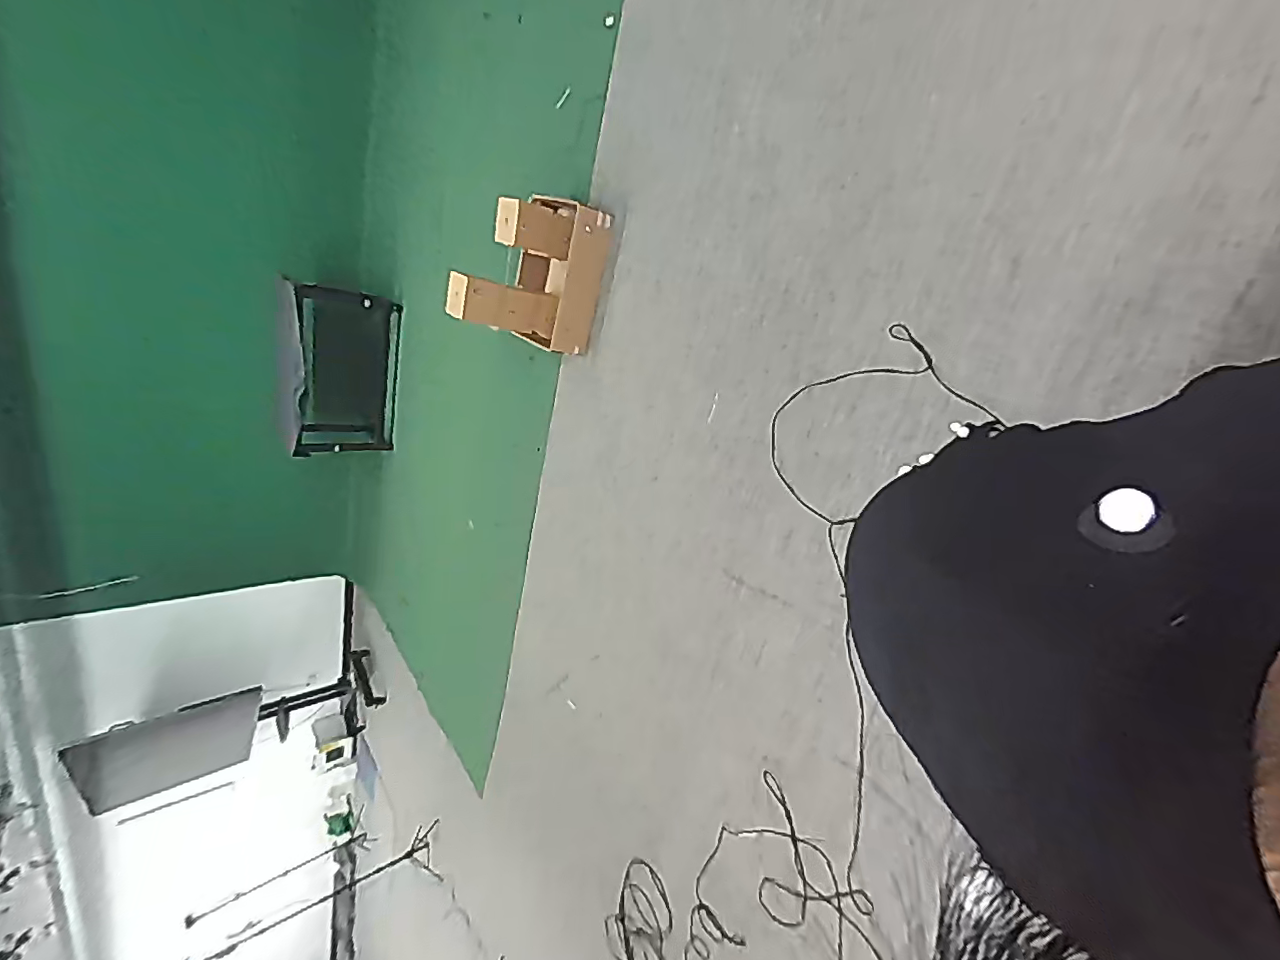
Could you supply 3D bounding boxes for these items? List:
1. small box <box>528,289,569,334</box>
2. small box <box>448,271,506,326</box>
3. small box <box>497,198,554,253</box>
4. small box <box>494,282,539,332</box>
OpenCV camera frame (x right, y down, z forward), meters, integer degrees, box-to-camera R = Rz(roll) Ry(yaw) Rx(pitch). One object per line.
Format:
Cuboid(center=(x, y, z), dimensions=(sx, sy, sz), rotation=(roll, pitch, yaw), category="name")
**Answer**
Cuboid(center=(-0.452, -0.782, 2.507), dimensions=(0.179, 0.176, 0.168), rotation=(32, 116, 40), category="small box")
Cuboid(center=(-0.683, -0.763, 2.274), dimensions=(0.168, 0.176, 0.179), rotation=(33, 117, 41), category="small box")
Cuboid(center=(-0.477, -1.065, 2.265), dimensions=(0.168, 0.176, 0.179), rotation=(30, 116, 39), category="small box")
Cuboid(center=(-0.566, -0.764, 2.391), dimensions=(0.168, 0.176, 0.179), rotation=(33, 115, 40), category="small box")
